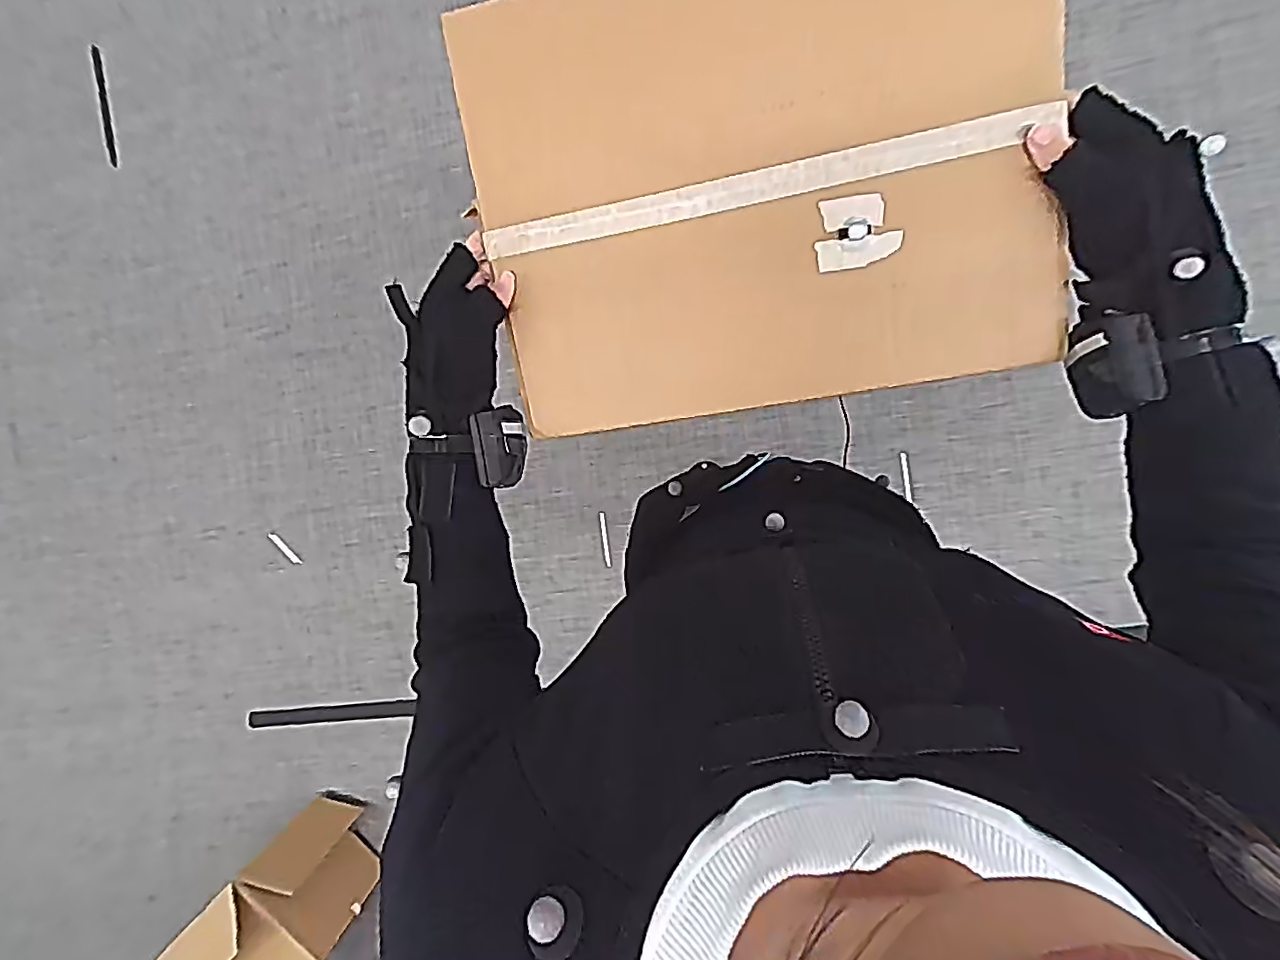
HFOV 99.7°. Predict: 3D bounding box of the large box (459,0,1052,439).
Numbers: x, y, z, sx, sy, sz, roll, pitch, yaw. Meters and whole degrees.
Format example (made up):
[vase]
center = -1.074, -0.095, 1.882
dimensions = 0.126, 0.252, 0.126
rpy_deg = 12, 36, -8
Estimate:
[large box]
center = 0.100, -0.244, 0.545
dimensions = 0.408, 0.320, 0.320
rpy_deg = -9, 102, 9
